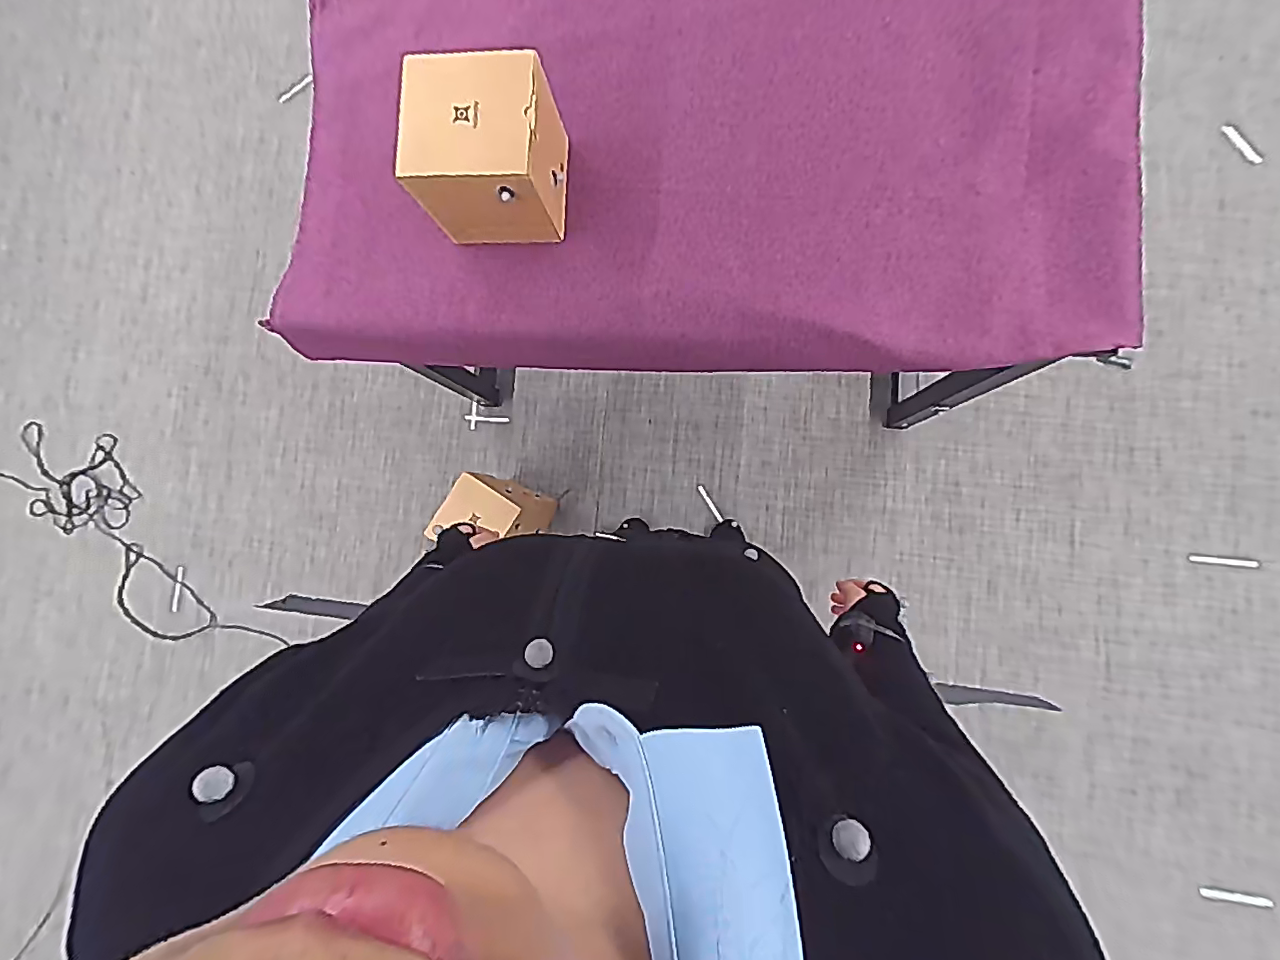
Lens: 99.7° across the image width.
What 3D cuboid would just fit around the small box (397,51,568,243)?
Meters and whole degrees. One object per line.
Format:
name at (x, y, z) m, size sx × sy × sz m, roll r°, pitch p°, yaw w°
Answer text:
small box at (-0.209, -0.449, 0.756) m, size 0.179 × 0.176 × 0.168 m, roll 2°, pitch 86°, yaw 5°

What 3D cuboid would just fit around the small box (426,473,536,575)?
small box at (-0.369, 0.102, 1.299) m, size 0.168 × 0.176 × 0.179 m, roll 33°, pitch 91°, yaw 7°
